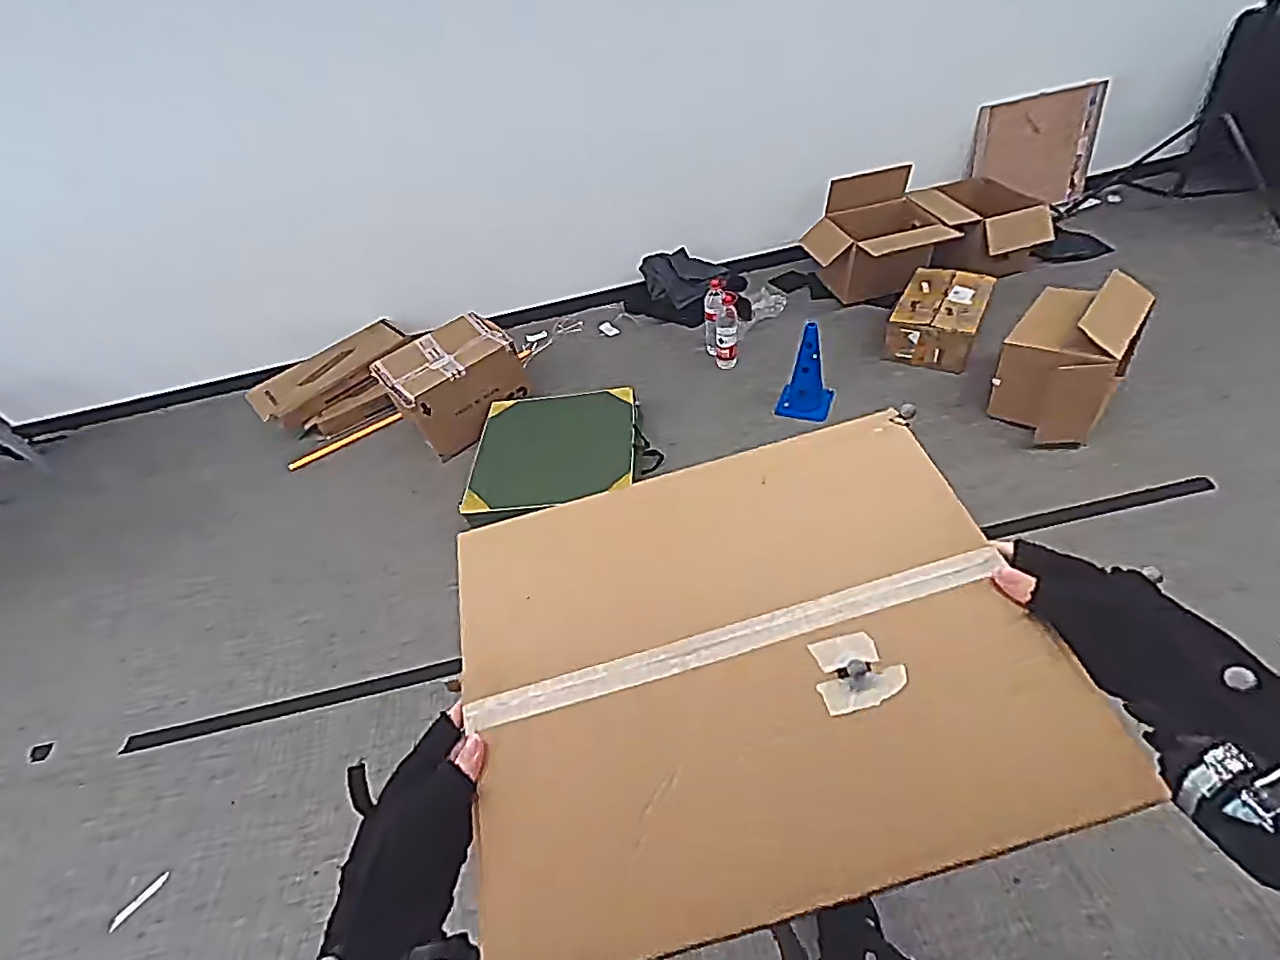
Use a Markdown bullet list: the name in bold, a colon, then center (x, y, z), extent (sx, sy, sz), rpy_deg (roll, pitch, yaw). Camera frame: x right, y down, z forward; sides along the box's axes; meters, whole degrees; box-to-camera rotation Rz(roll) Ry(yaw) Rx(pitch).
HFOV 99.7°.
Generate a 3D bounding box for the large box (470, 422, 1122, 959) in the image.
- **large box**: center (0.091, 0.203, 0.531), extent (0.408, 0.320, 0.320), rpy_deg (-16, 56, -2)
